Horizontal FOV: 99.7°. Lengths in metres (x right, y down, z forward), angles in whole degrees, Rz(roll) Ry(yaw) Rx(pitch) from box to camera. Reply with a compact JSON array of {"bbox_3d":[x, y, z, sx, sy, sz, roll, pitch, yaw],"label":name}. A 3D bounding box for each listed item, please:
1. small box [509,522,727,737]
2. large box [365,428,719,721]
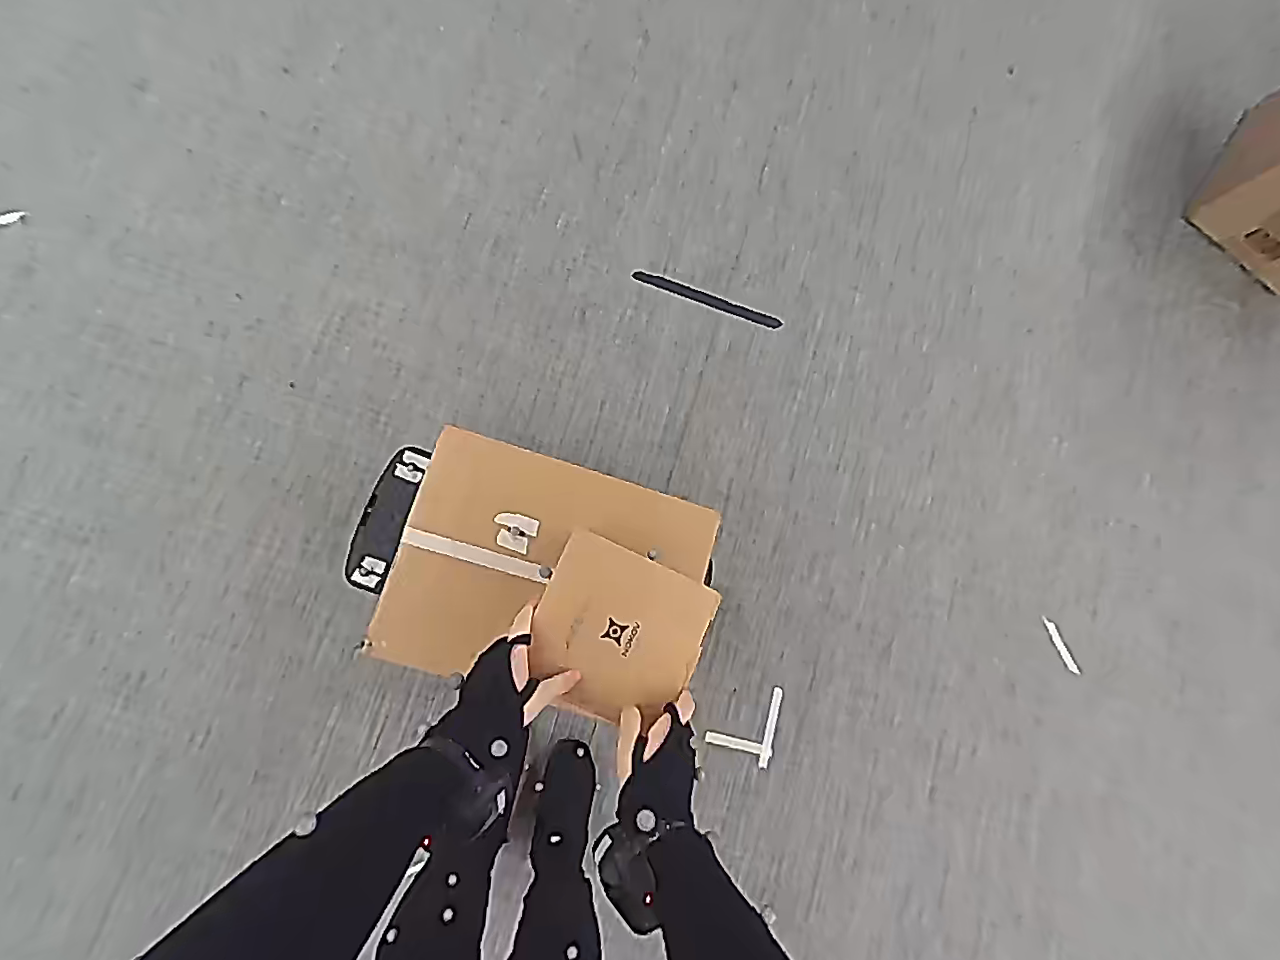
[{"bbox_3d":[-0.029,0.160,0.629,0.179,0.176,0.168,26,80,-3],"label":"small box"},{"bbox_3d":[-0.134,0.150,0.866,0.408,0.320,0.320,18,79,-5],"label":"large box"}]
